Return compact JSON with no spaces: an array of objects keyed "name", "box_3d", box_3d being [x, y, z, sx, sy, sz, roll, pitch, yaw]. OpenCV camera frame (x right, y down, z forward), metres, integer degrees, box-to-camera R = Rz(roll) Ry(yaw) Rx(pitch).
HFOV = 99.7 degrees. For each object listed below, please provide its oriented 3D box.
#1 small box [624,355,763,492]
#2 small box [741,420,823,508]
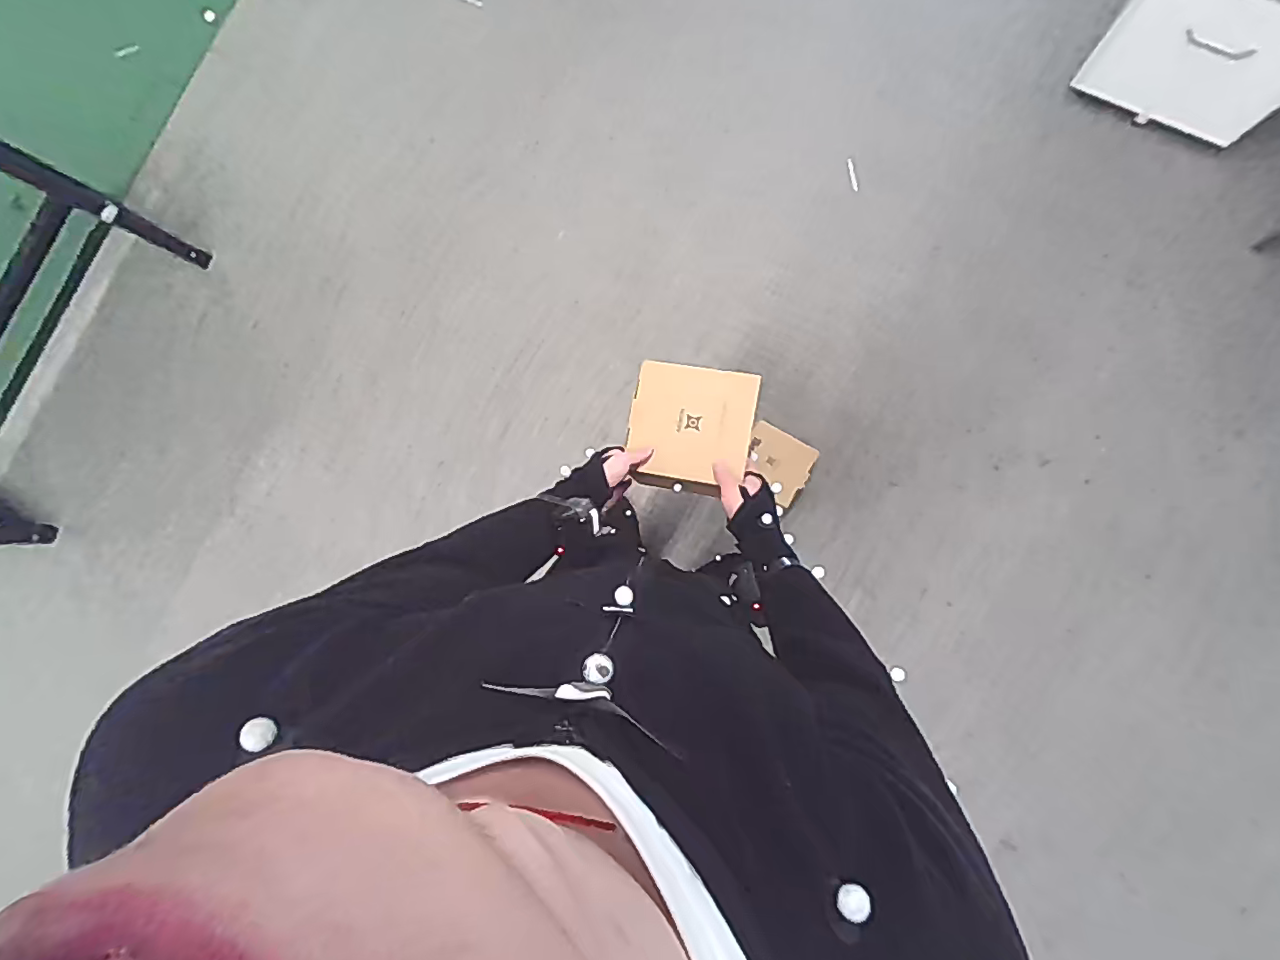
[{"name":"small box","box_3d":[0.085,-0.079,0.843,0.179,0.176,0.168,9,84,8]},{"name":"small box","box_3d":[0.356,-0.038,1.441,0.179,0.176,0.168,32,91,10]}]
